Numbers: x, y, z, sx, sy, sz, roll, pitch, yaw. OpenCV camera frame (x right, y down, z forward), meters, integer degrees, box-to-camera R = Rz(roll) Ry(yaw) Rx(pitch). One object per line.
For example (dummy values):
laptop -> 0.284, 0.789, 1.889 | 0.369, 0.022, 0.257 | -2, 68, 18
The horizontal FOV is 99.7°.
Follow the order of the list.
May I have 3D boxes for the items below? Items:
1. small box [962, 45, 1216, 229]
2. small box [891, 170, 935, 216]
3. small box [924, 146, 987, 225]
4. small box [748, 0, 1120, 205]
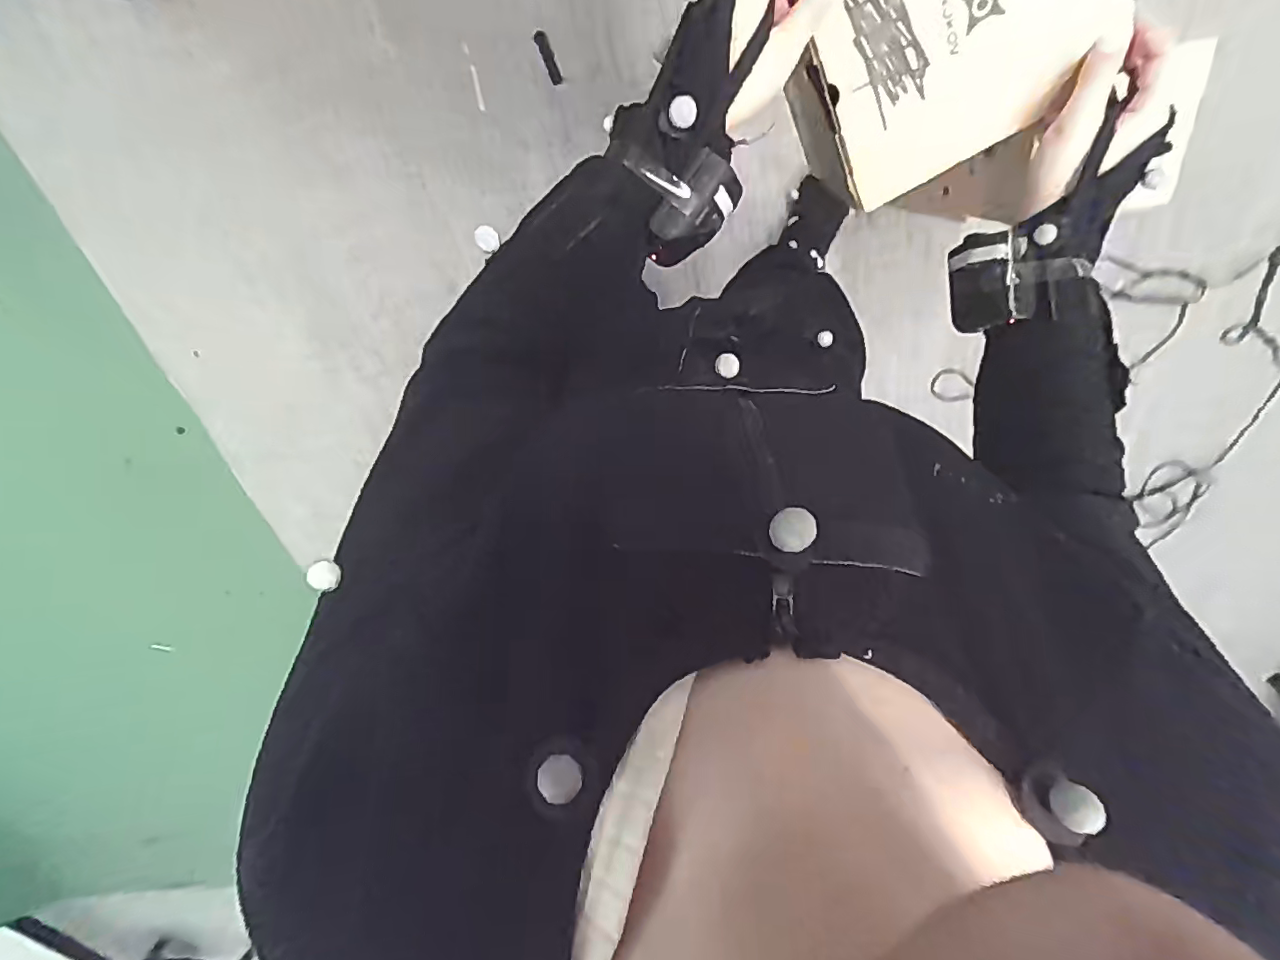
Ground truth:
small box -> 0.562, -0.441, 0.709 | 0.179, 0.176, 0.168 | -8, 120, 7
small box -> 0.579, -0.602, 0.993 | 0.168, 0.176, 0.179 | -7, 122, 5
small box -> 0.569, -0.520, 0.854 | 0.168, 0.176, 0.179 | -9, 119, 7
small box -> 0.188, -0.335, 0.387 | 0.179, 0.176, 0.168 | -25, 125, 19
